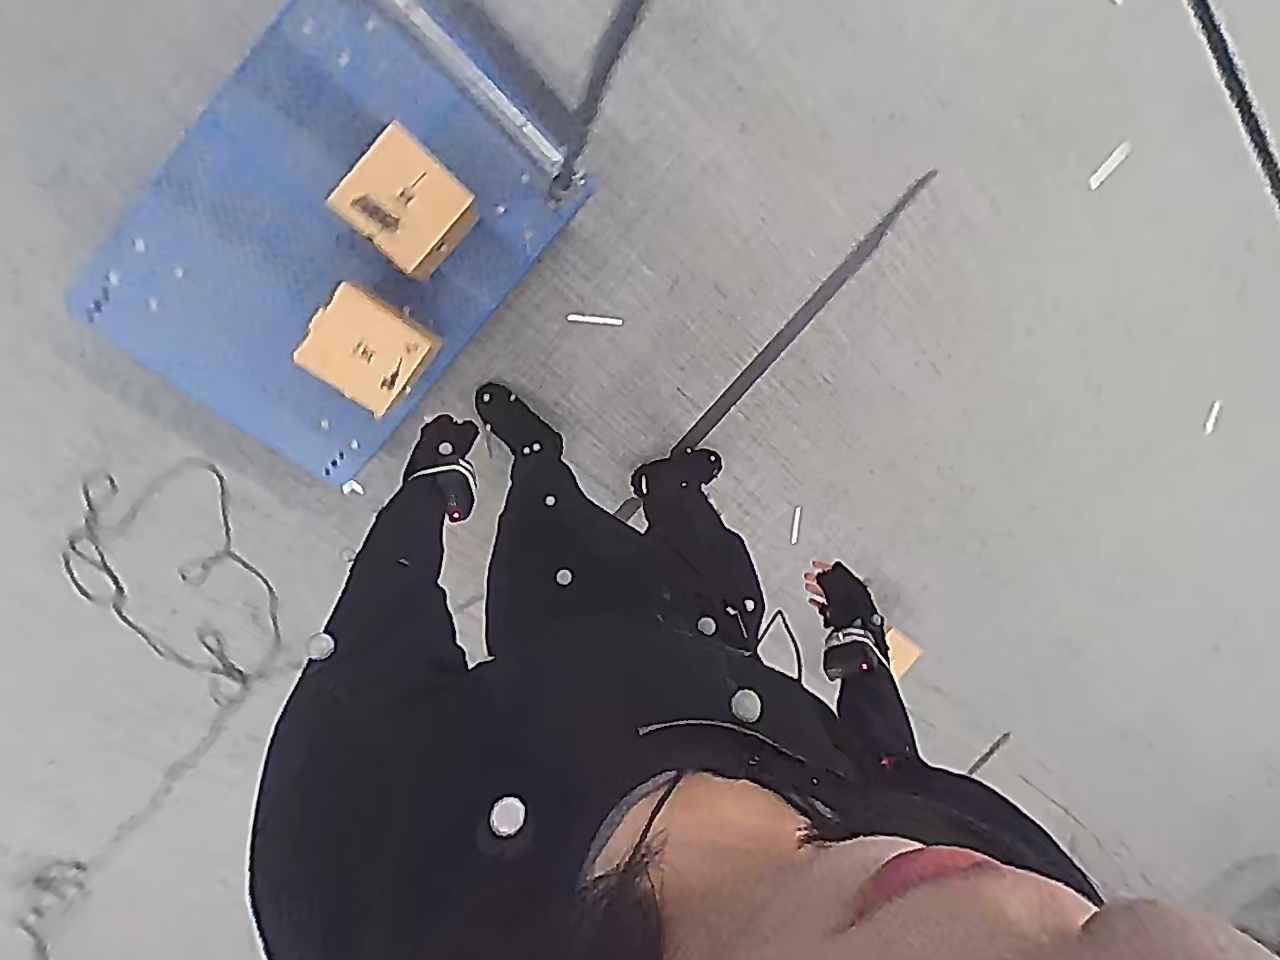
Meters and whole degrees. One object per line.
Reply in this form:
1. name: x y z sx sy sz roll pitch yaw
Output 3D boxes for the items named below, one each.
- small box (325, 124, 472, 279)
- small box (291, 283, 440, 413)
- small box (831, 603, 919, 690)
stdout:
1. small box: -0.428 -0.496 0.997 0.168 0.176 0.179 41 93 -19
2. small box: -0.517 -0.252 1.046 0.179 0.176 0.168 36 96 -18
3. small box: 0.753 0.537 1.763 0.168 0.176 0.179 36 95 -20
